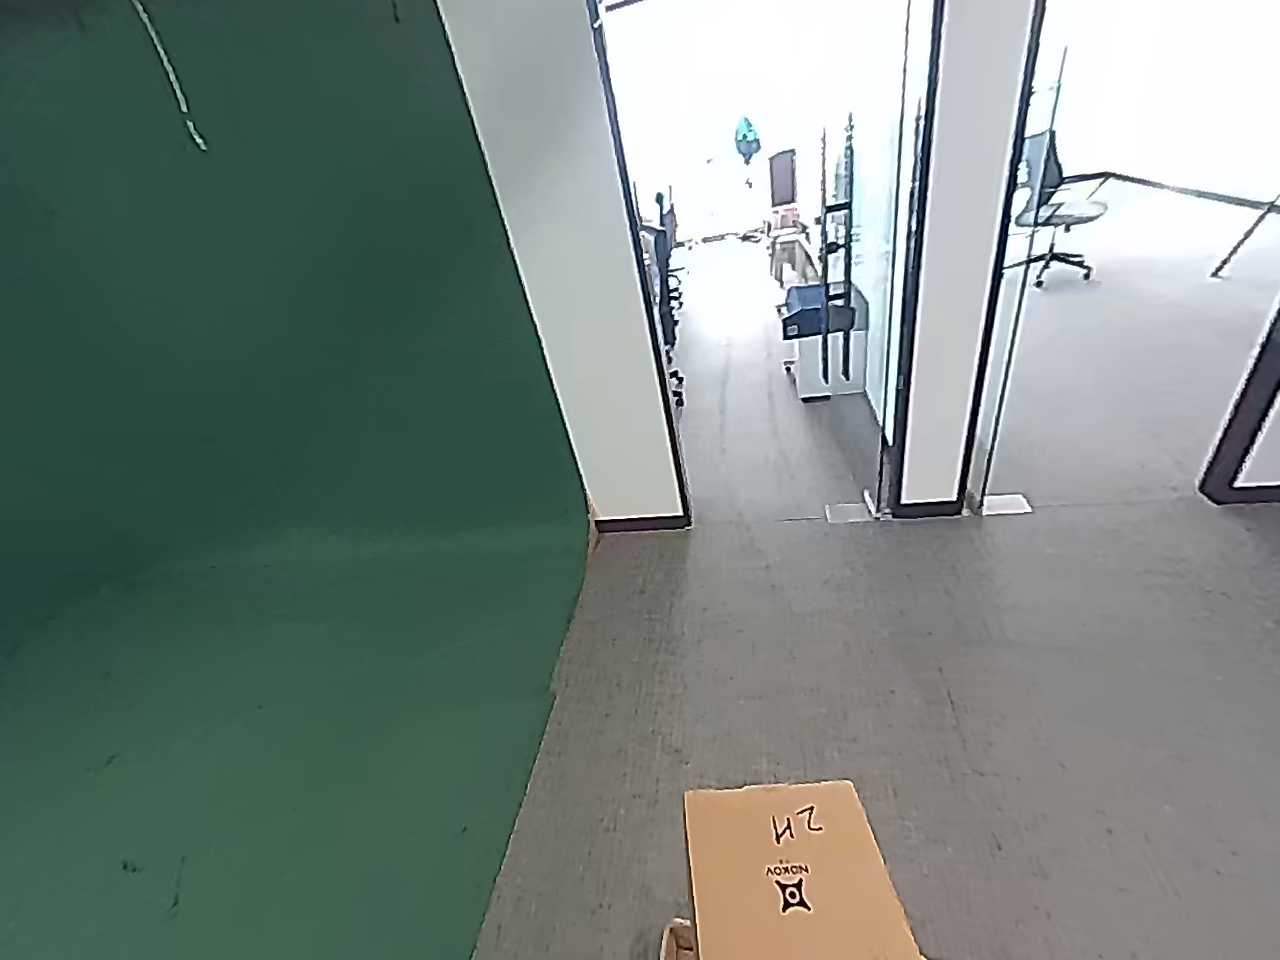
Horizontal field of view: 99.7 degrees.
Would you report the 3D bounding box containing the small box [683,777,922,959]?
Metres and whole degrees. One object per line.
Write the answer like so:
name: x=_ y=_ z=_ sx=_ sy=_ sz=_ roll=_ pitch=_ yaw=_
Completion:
small box: x=0.129 y=0.400 z=0.477 sx=0.168 sy=0.176 sz=0.179 roll=-3 pitch=27 yaw=1
